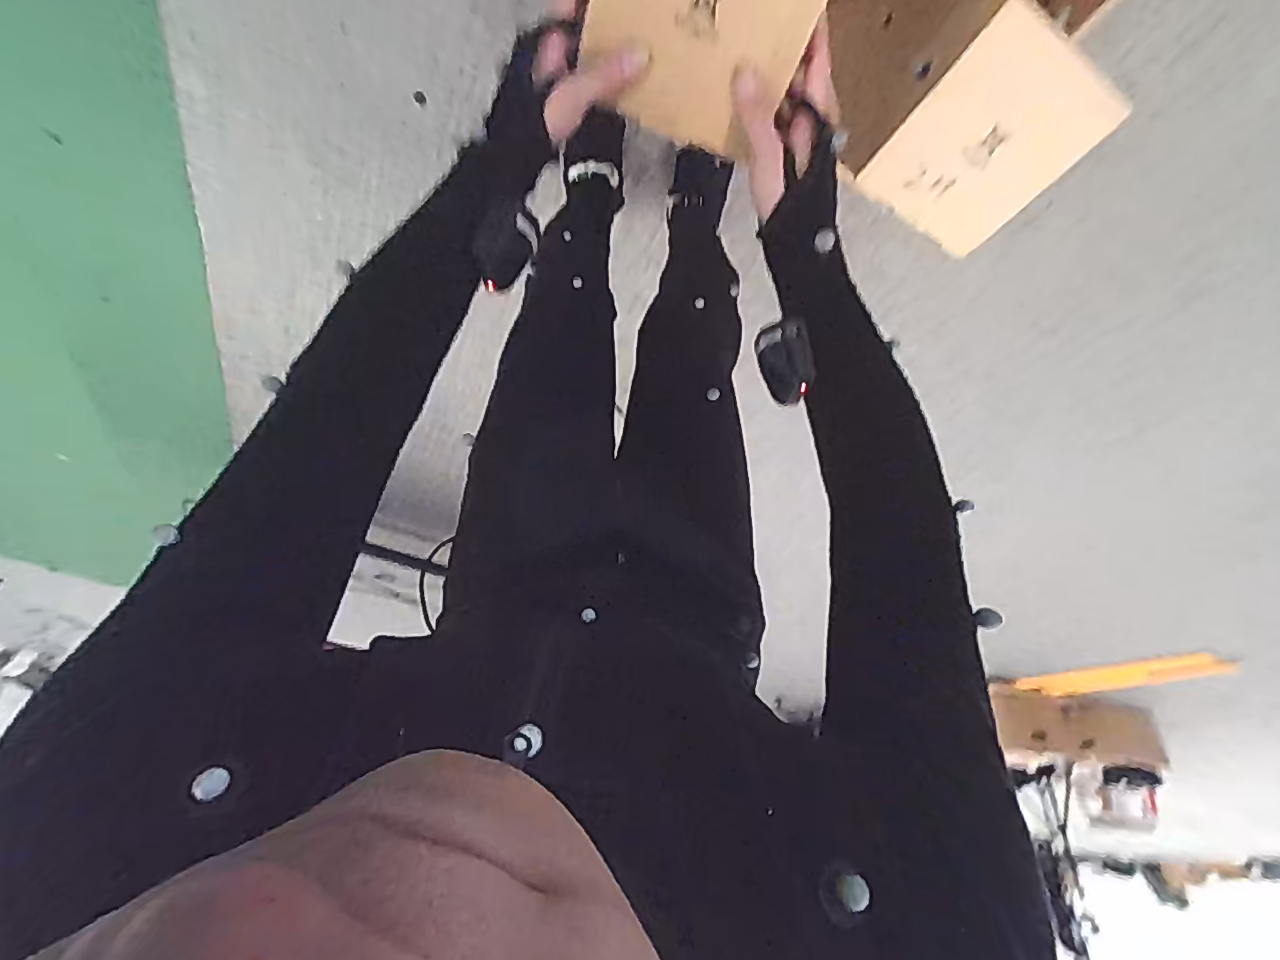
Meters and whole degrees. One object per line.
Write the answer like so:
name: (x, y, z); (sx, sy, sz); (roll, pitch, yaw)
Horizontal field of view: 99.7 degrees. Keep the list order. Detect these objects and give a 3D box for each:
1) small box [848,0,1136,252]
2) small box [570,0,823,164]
small box: (0.342, -0.390, 0.565); (0.168, 0.176, 0.179); (24, 140, -18)
small box: (0.051, -0.406, 0.440); (0.168, 0.176, 0.179); (15, 141, -9)
